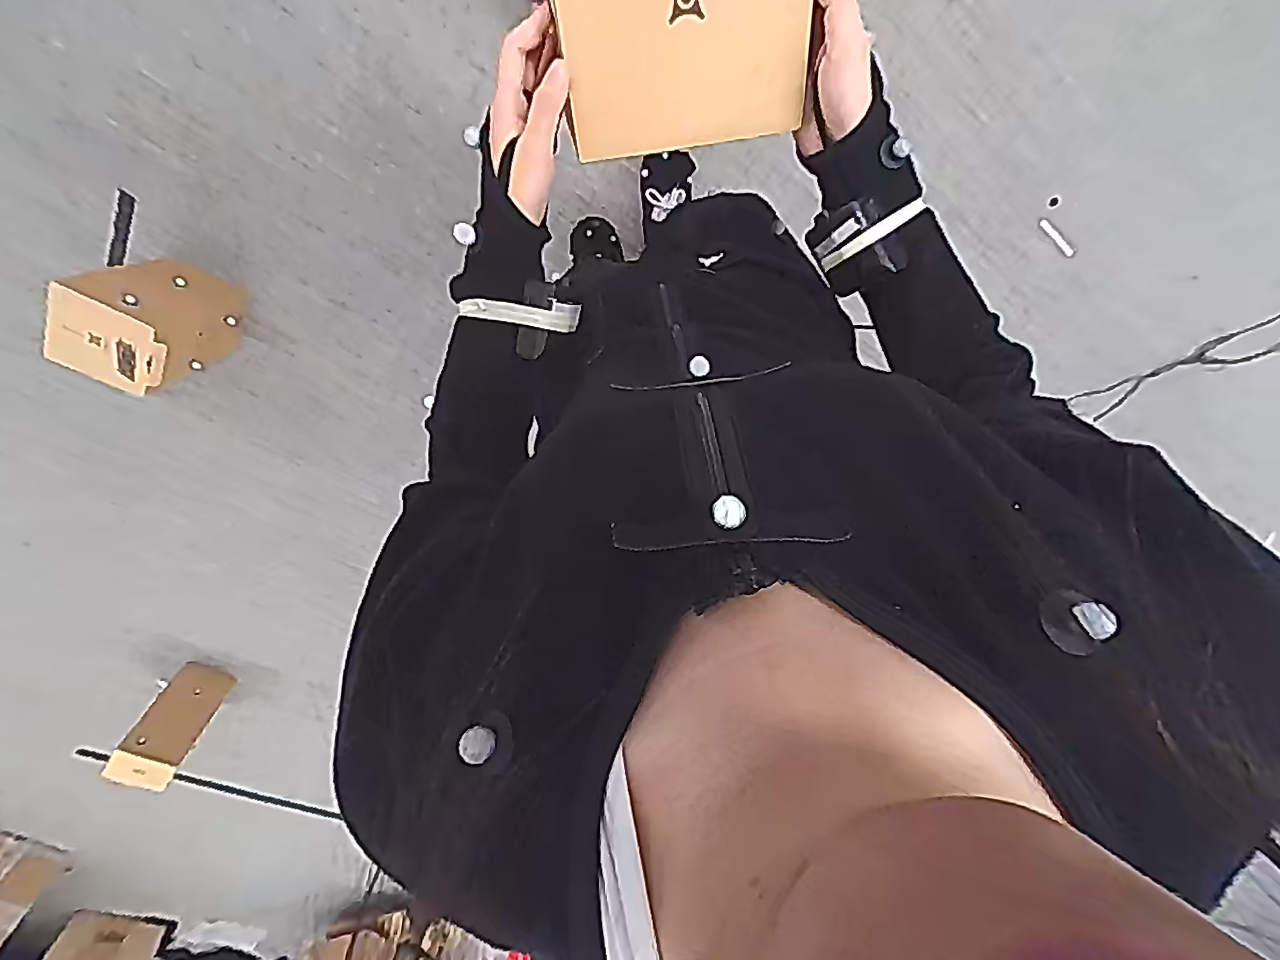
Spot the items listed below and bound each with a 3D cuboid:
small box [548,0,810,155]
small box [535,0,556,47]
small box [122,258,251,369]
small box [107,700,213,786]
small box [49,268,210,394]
[{"bbox_3d":[0.017,-0.361,0.387,0.168,0.176,0.179,-10,133,-2],"label":"small box"},{"bbox_3d":[-0.119,-0.934,0.993,0.168,0.176,0.179,-12,121,2],"label":"small box"},{"bbox_3d":[-1.044,-0.390,1.247,0.179,0.176,0.168,25,115,-17],"label":"small box"},{"bbox_3d":[-1.547,0.846,1.750,0.179,0.176,0.168,33,114,-22],"label":"small box"},{"bbox_3d":[-1.030,-0.310,1.104,0.179,0.176,0.168,26,115,-18],"label":"small box"}]
